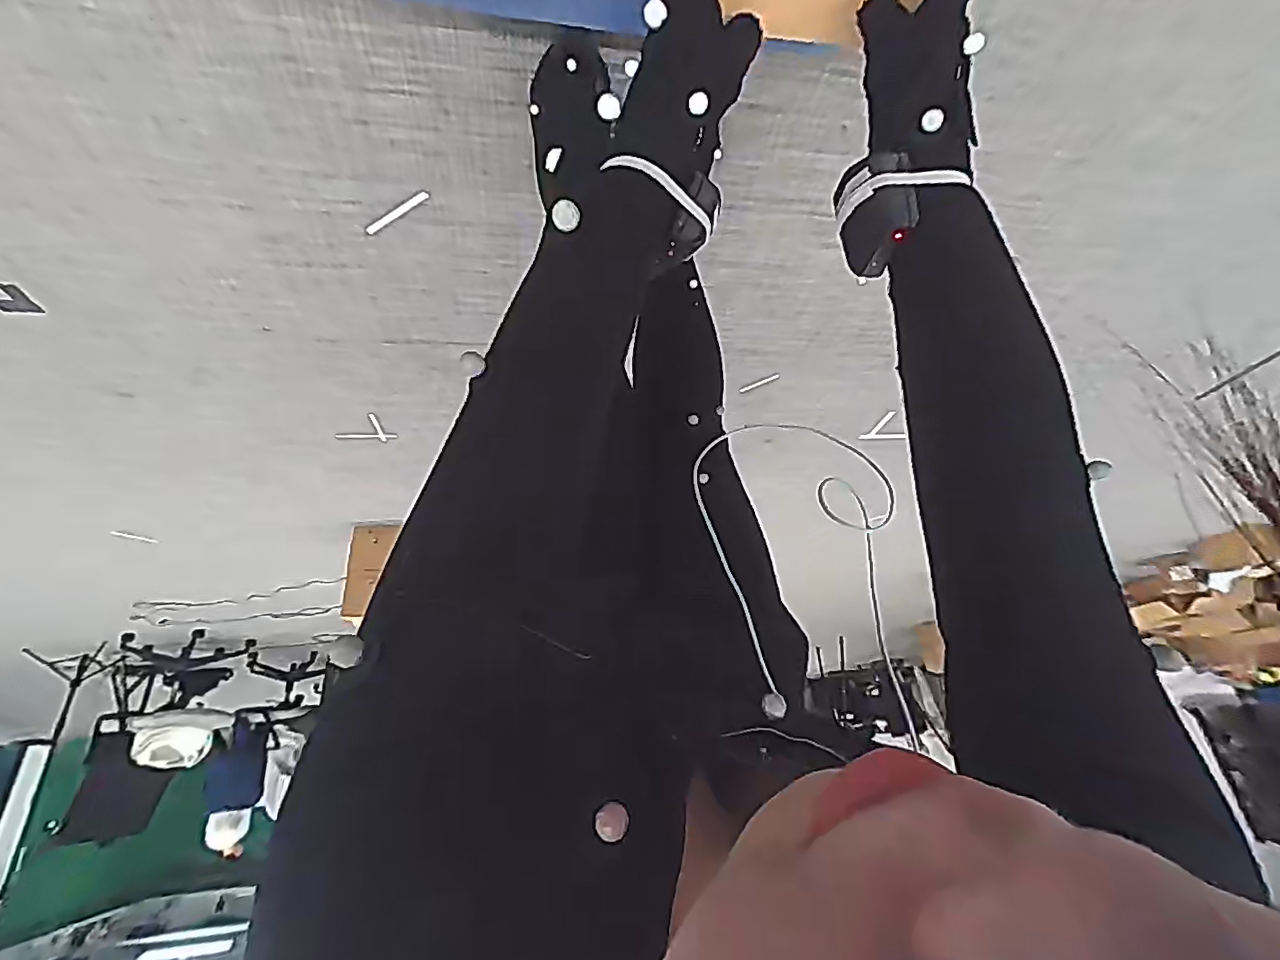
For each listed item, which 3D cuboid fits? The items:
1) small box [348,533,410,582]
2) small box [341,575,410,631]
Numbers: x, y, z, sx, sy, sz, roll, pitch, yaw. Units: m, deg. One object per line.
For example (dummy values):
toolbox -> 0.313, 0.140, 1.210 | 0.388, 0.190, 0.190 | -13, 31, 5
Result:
small box -> -0.990, 0.308, 2.068 | 0.168, 0.176, 0.179 | -1, 153, -9
small box -> -0.970, 0.455, 1.997 | 0.179, 0.176, 0.168 | 0, 154, -8
